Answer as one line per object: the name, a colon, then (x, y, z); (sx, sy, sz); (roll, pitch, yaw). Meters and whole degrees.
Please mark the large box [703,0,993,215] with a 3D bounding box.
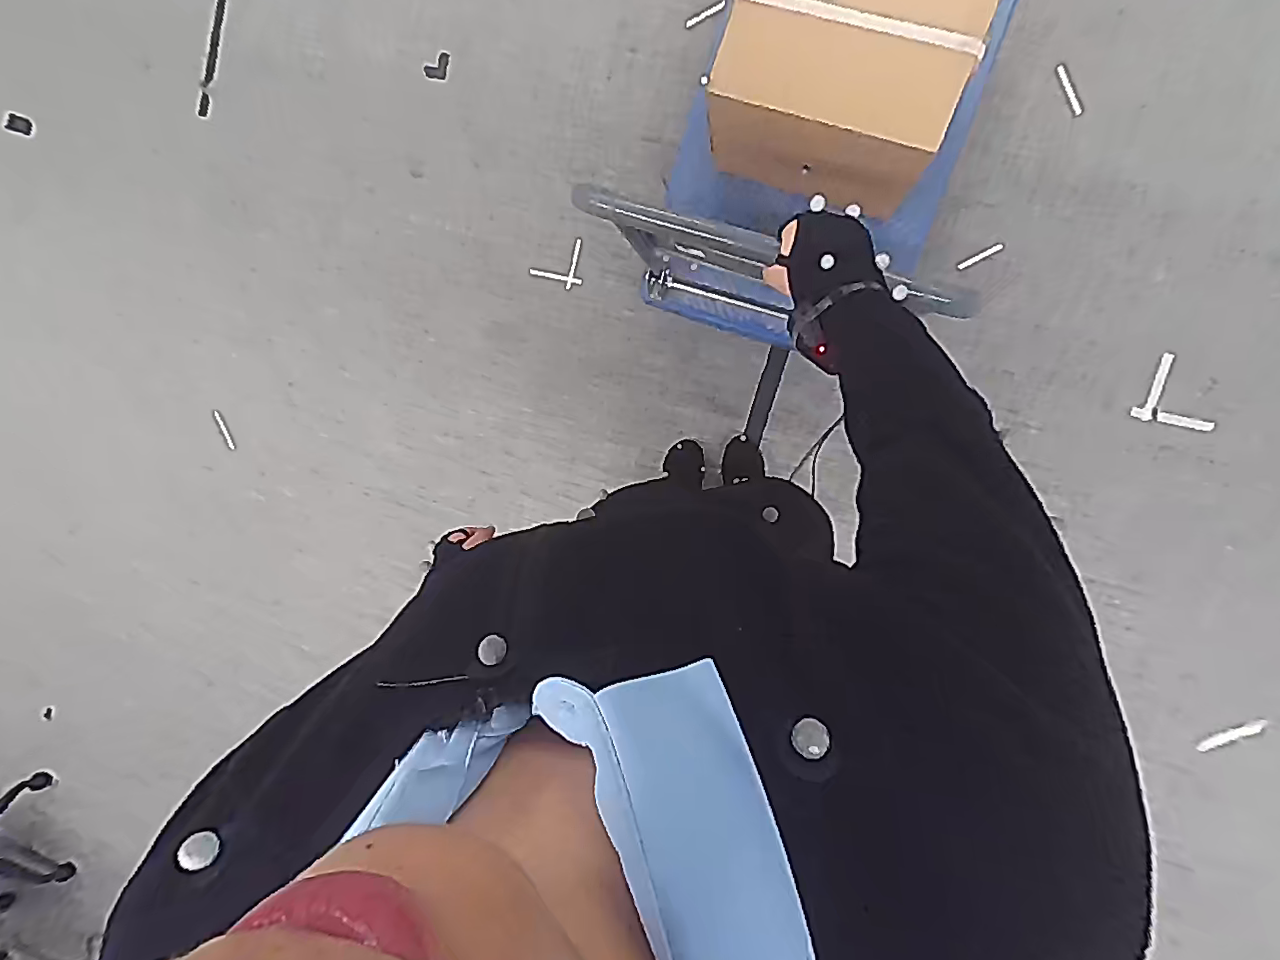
large box: (0.369, -0.753, 1.019); (0.408, 0.320, 0.320); (21, 98, 9)
